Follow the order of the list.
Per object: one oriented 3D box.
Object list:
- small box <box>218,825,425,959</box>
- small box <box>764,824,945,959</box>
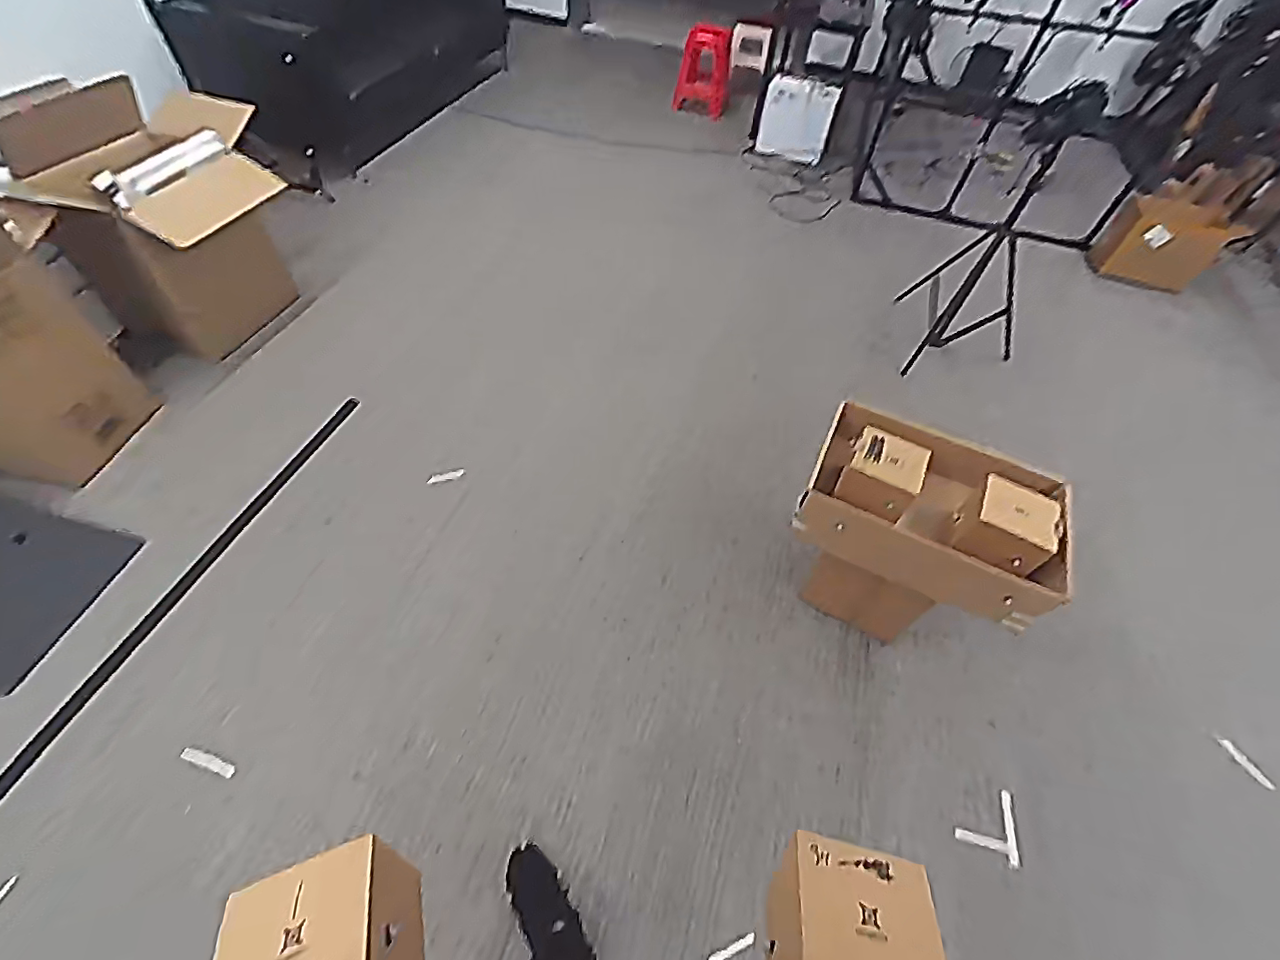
[{"bbox_3d":[-0.365,0.560,0.642,0.168,0.176,0.179,-17,39,-12],"label":"small box"},{"bbox_3d":[0.256,0.577,0.668,0.168,0.176,0.179,13,32,7],"label":"small box"}]
